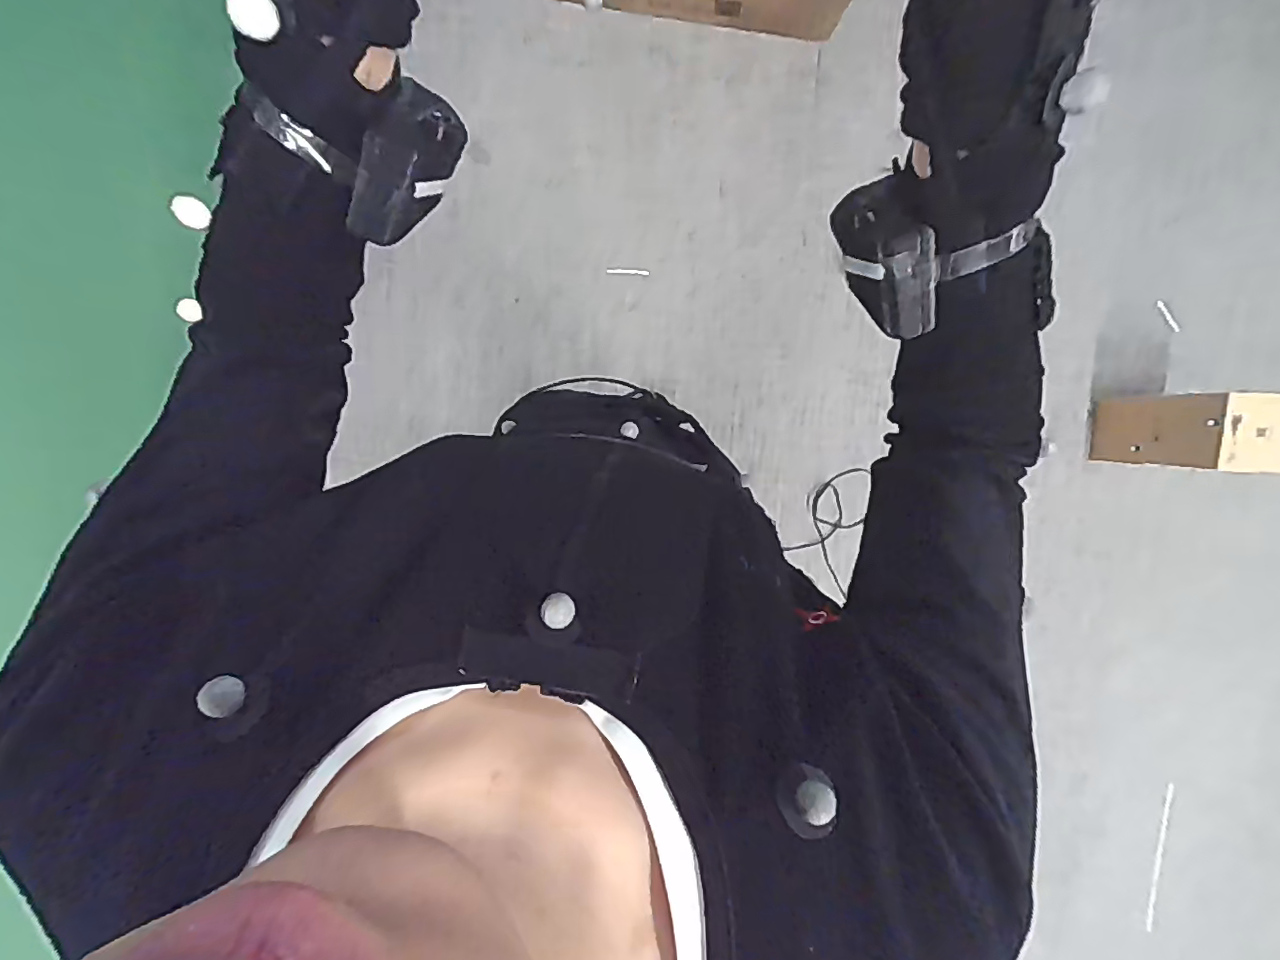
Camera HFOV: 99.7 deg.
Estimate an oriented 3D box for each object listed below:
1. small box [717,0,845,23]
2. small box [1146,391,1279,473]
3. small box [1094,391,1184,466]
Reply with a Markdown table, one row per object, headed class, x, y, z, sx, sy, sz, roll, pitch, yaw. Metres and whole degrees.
| class | x | y | z | sx | sy | sz | roll | pitch | yaw |
| --- | --- | --- | --- | --- | --- | --- | --- | --- | --- |
| small box | 0.042 | -0.330 | 0.211 | 0.168 | 0.176 | 0.179 | 10 | 104 | 0 |
| small box | 1.297 | -0.110 | 1.201 | 0.179 | 0.176 | 0.168 | 3 | 97 | -1 |
| small box | 1.299 | -0.129 | 1.364 | 0.168 | 0.176 | 0.179 | 3 | 97 | 0 |
